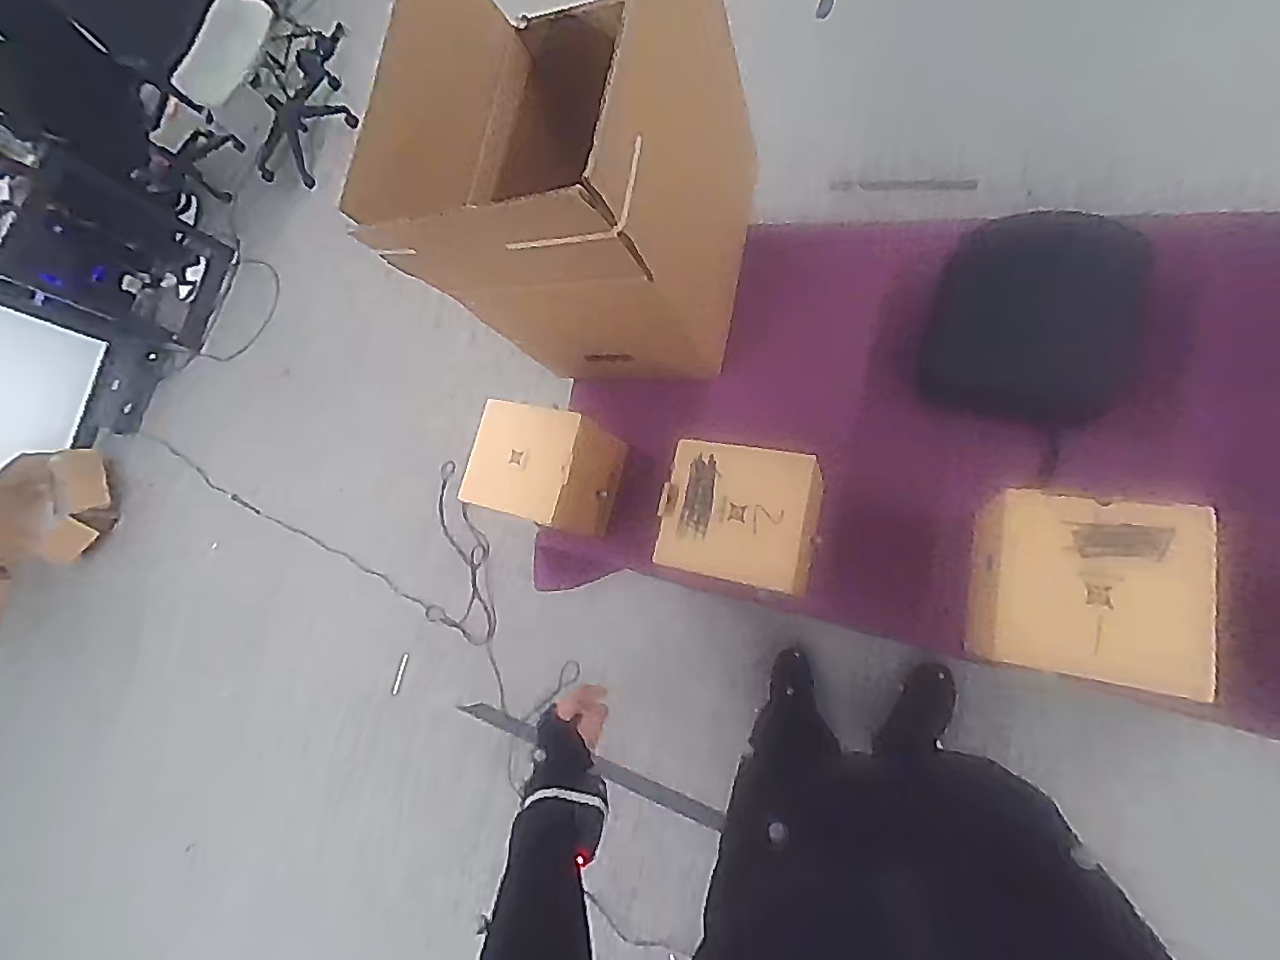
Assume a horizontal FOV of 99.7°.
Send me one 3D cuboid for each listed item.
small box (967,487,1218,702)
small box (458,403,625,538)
[{"bbox_3d":[0.463,0.116,0.581,0.168,0.176,0.179,6,81,24],"label":"small box"},{"bbox_3d":[-0.149,-0.010,0.864,0.179,0.176,0.168,11,82,23],"label":"small box"}]
